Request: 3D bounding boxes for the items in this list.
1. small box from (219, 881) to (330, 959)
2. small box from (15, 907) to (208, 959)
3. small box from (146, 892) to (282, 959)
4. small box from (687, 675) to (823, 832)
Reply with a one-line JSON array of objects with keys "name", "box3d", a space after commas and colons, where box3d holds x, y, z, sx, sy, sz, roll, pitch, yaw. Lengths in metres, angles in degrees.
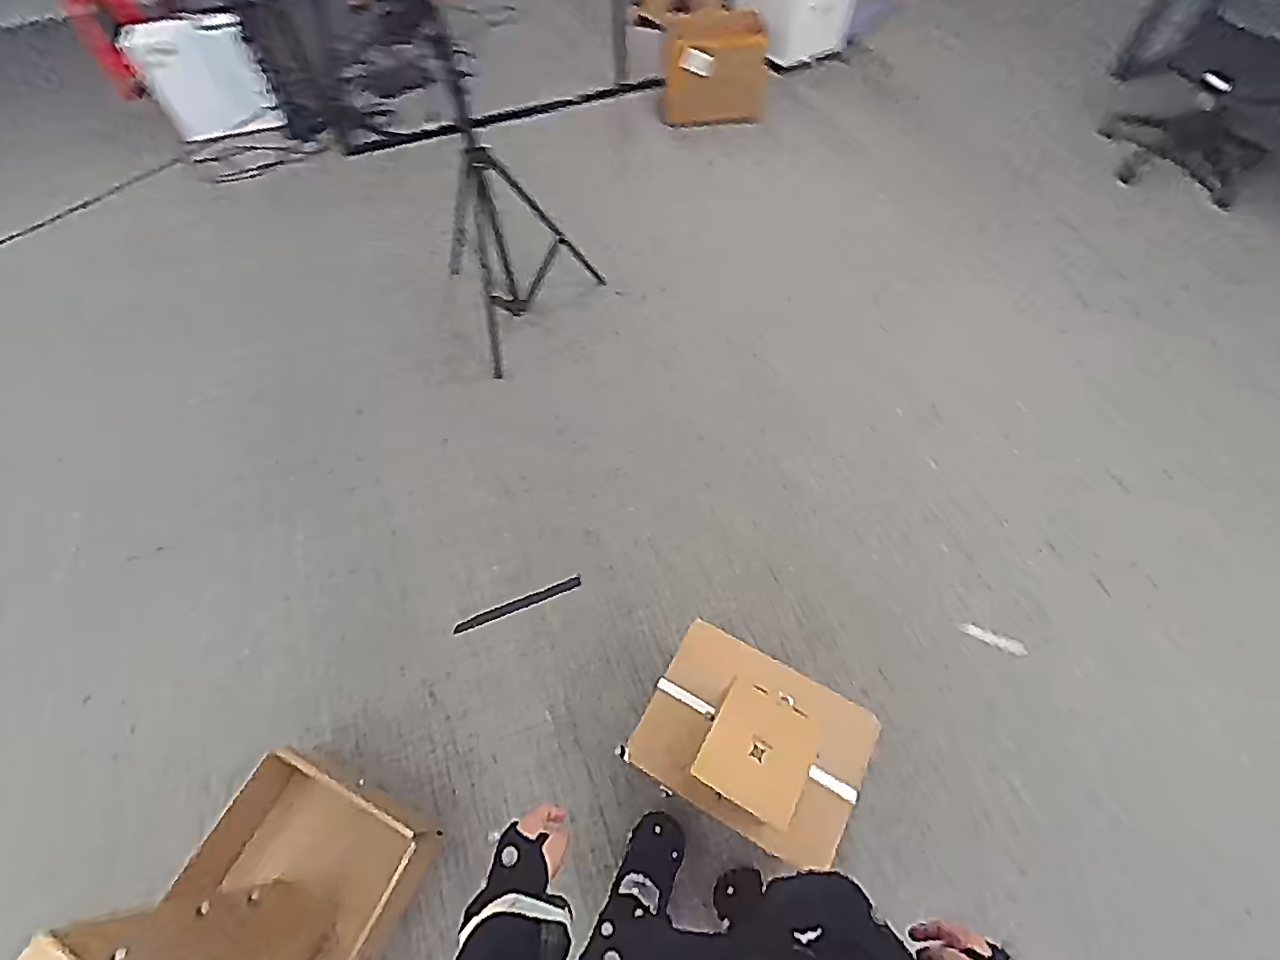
[{"name": "small box", "box3d": [-0.745, 0.900, 1.028, 0.179, 0.176, 0.168, 25, 64, 15]}, {"name": "small box", "box3d": [-0.762, 0.734, 0.747, 0.179, 0.176, 0.168, 22, 63, 16]}, {"name": "small box", "box3d": [-0.751, 0.817, 0.889, 0.179, 0.176, 0.168, 24, 64, 14]}, {"name": "small box", "box3d": [0.193, 0.475, 0.944, 0.168, 0.176, 0.179, 27, 64, 16]}]
